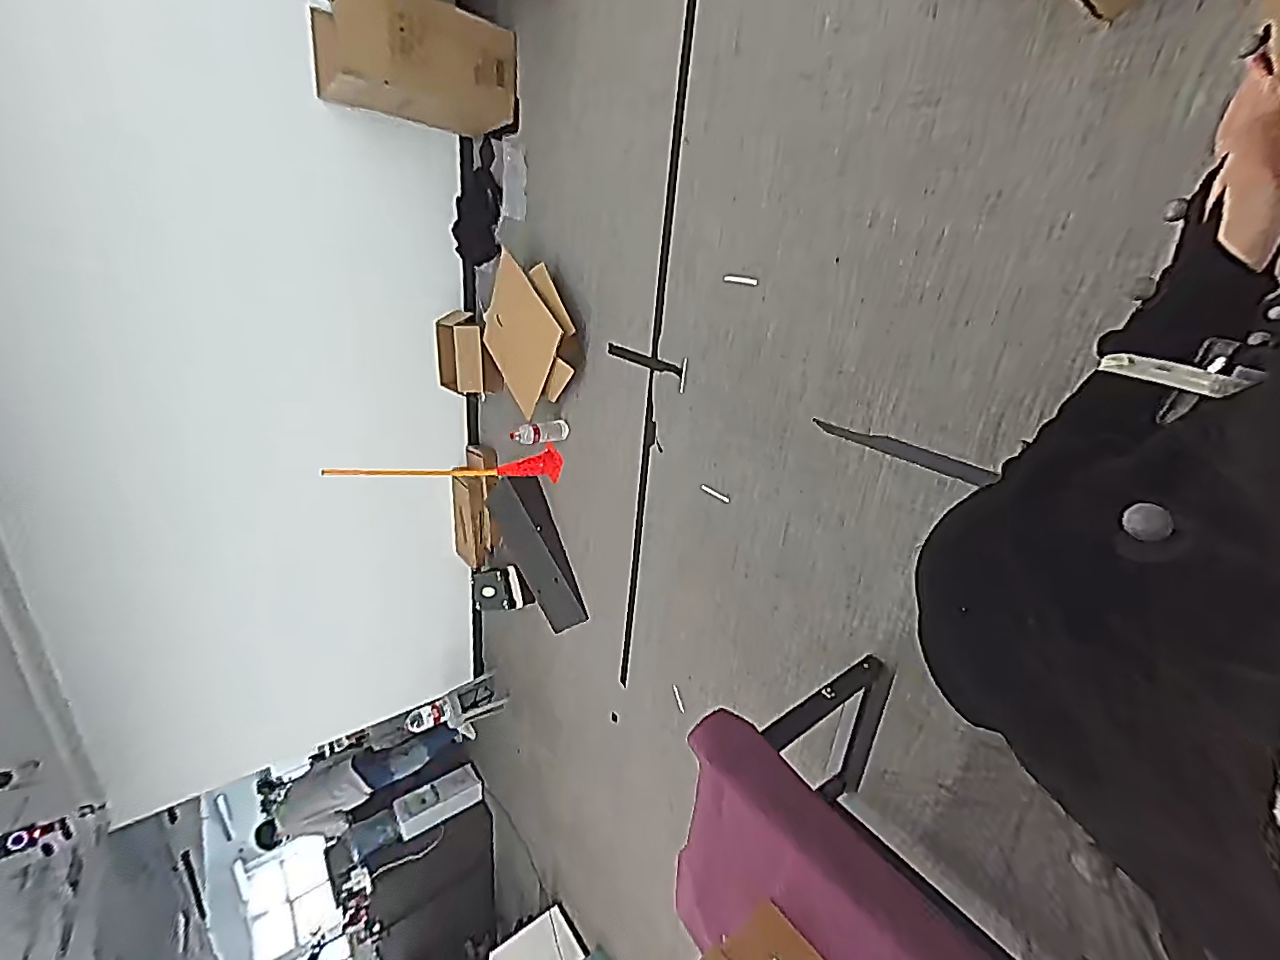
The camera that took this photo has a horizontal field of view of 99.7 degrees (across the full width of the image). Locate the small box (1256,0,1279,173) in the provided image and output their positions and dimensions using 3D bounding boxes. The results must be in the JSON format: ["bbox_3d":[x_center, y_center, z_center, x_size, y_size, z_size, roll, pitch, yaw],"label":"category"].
[{"bbox_3d":[0.445,-0.281,0.276,0.168,0.176,0.179,-6,97,48],"label":"small box"}]
